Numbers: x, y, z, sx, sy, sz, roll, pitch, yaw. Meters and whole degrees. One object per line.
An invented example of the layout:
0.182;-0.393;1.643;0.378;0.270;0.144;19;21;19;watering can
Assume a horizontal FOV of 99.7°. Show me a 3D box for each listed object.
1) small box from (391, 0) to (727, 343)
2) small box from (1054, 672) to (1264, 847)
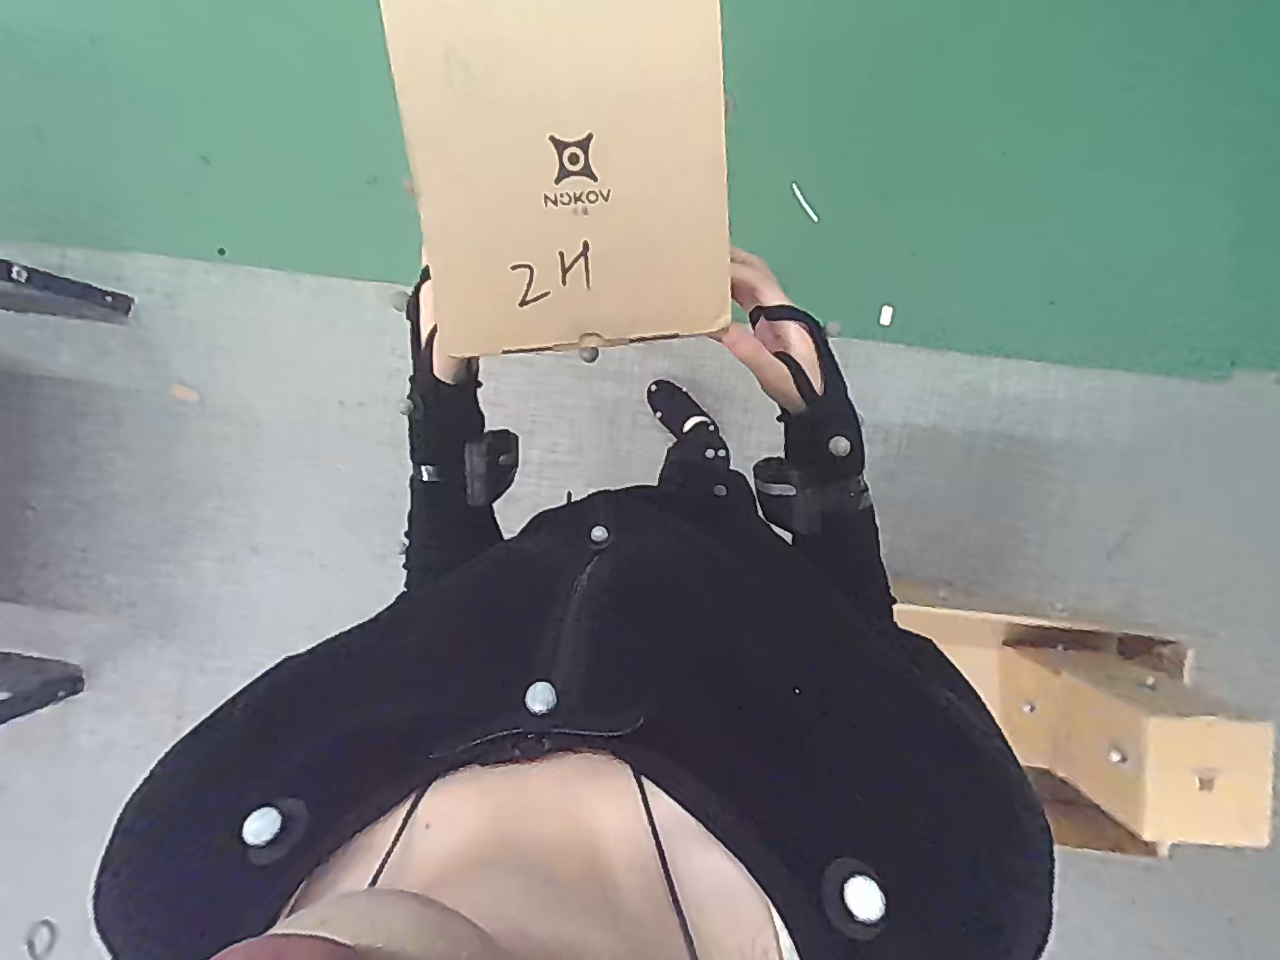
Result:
-0.044;-0.190;0.365;0.168;0.176;0.179;-6;108;-4;small box
0.773;0.414;0.825;0.168;0.176;0.179;2;90;3;small box
